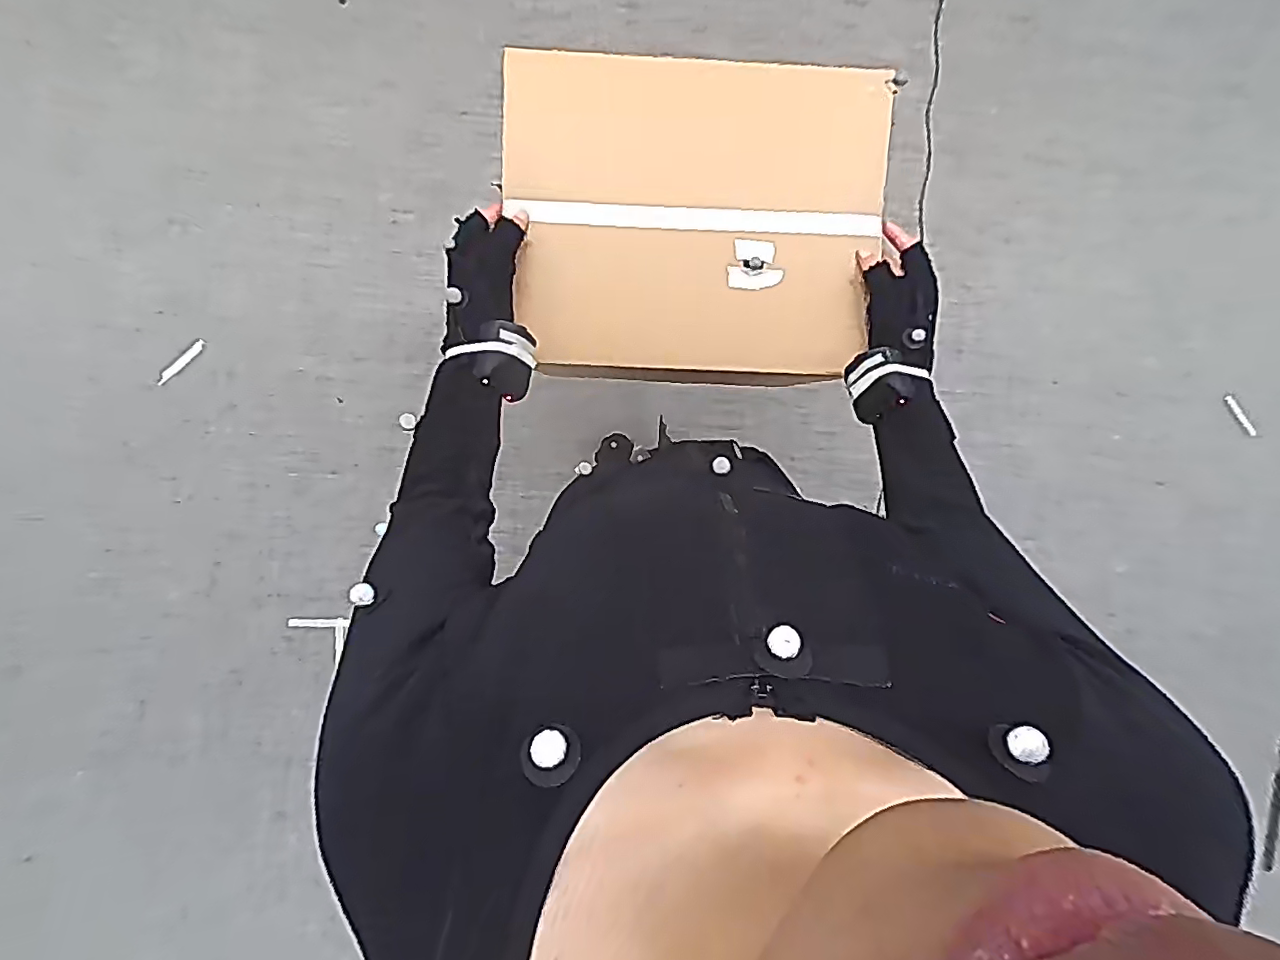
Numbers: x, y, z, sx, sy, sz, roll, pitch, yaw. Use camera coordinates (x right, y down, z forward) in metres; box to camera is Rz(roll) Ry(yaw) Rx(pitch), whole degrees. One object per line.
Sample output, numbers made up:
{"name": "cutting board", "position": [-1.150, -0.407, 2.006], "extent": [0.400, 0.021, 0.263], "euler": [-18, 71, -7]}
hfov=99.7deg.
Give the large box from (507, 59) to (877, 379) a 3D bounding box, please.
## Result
{"name": "large box", "position": [0.048, -0.305, 0.739], "extent": [0.408, 0.320, 0.320], "euler": [1, 98, -2]}
